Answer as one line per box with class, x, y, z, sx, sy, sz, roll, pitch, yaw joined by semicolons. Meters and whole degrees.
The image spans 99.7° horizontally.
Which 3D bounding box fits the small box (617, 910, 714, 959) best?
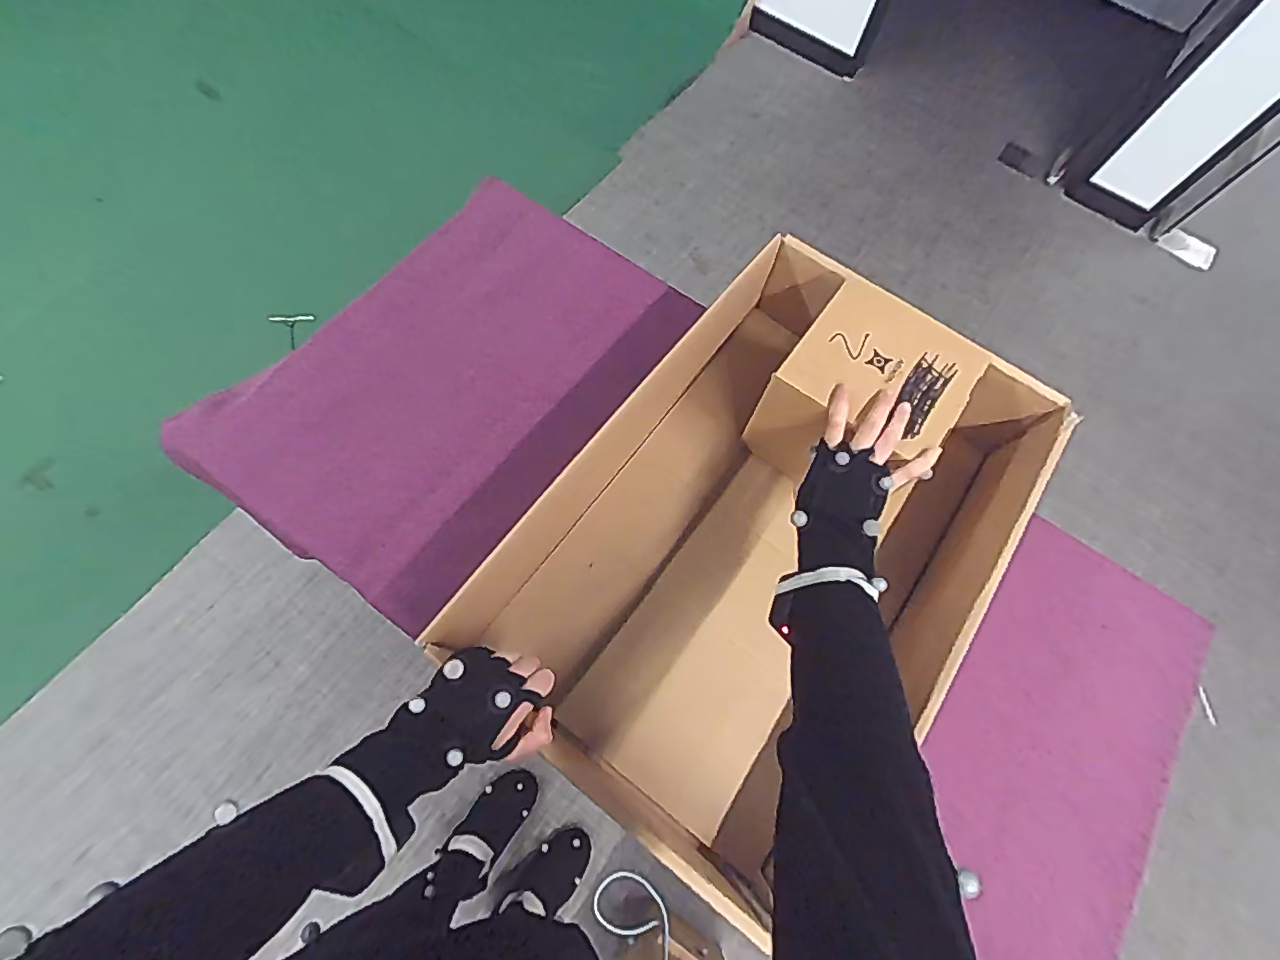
small box;0.050;0.993;1.050;0.179;0.176;0.168;34;70;9
